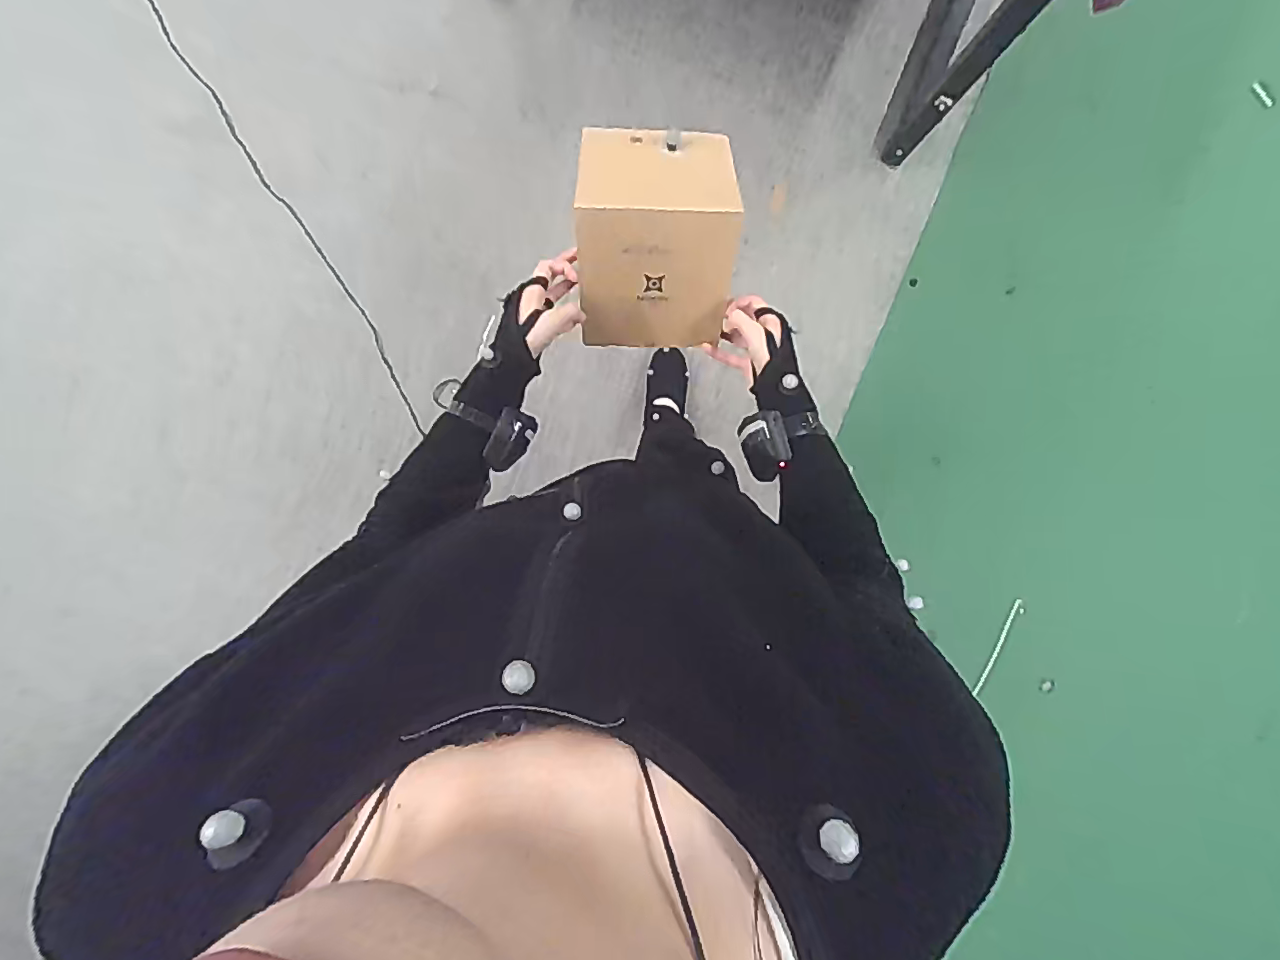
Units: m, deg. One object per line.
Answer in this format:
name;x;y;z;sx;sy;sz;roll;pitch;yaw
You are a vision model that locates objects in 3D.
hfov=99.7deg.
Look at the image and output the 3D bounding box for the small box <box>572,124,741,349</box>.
small box;0.014;-0.277;0.628;0.168;0.179;0.176;1;56;-2
